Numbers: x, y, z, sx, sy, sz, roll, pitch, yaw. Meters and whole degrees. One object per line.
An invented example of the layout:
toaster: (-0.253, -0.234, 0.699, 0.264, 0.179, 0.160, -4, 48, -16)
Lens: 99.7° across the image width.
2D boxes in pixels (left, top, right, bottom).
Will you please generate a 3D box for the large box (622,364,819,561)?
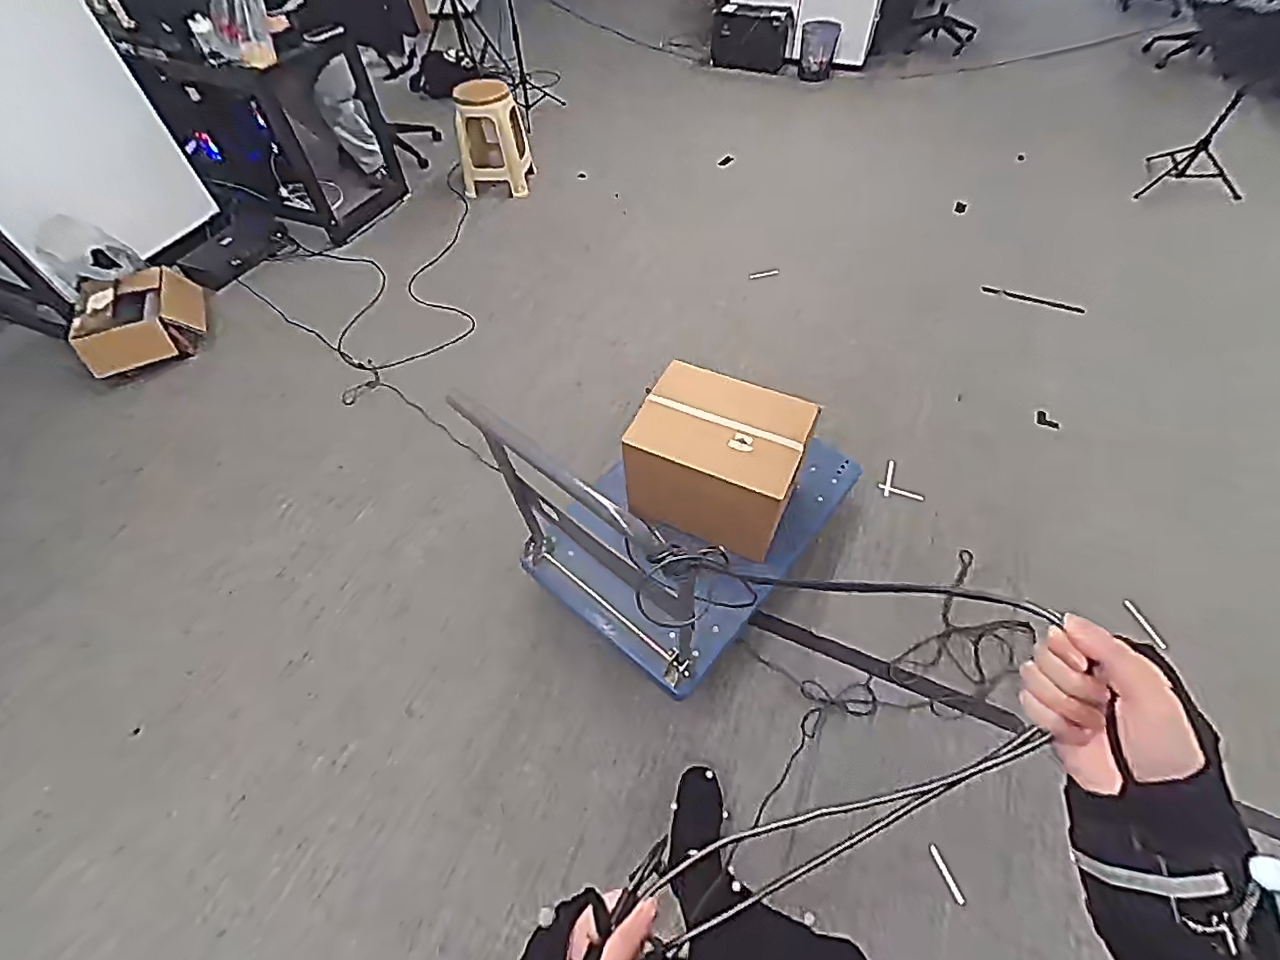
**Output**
large box: (0.199, -0.046, 1.424, 0.408, 0.320, 0.320, 21, 59, 16)
